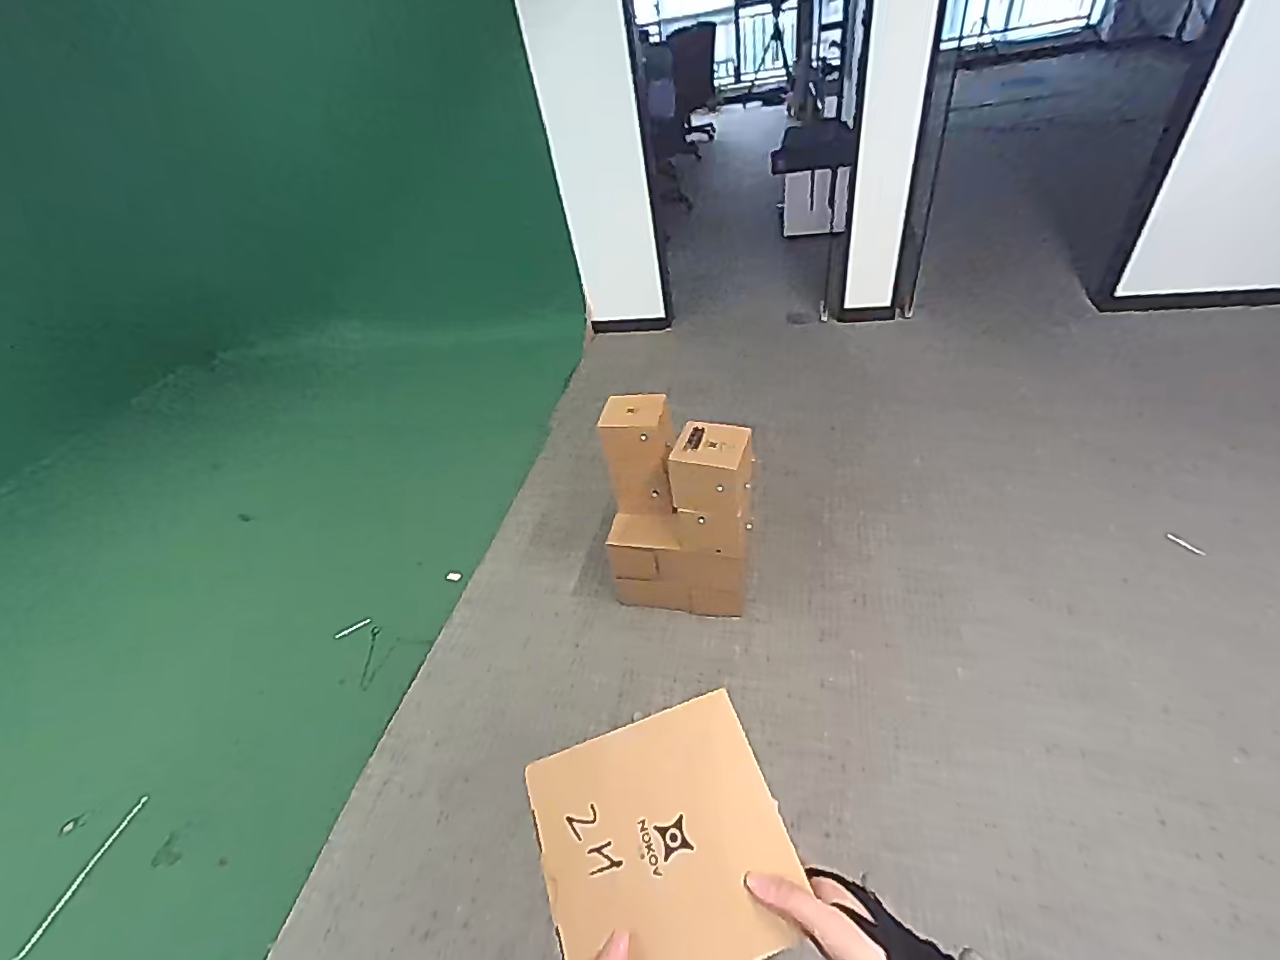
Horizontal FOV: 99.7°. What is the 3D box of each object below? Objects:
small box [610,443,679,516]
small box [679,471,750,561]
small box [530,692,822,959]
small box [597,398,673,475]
[{"bbox_3d":[0.022,-0.001,1.689,0.179,0.176,0.168,0,40,14],"label":"small box"},{"bbox_3d":[0.214,0.100,1.522,0.168,0.176,0.179,5,43,18],"label":"small box"},{"bbox_3d":[0.023,0.306,0.461,0.179,0.176,0.168,-18,55,-6],"label":"small box"},{"bbox_3d":[-0.009,-0.126,1.589,0.179,0.176,0.168,1,41,14],"label":"small box"}]
